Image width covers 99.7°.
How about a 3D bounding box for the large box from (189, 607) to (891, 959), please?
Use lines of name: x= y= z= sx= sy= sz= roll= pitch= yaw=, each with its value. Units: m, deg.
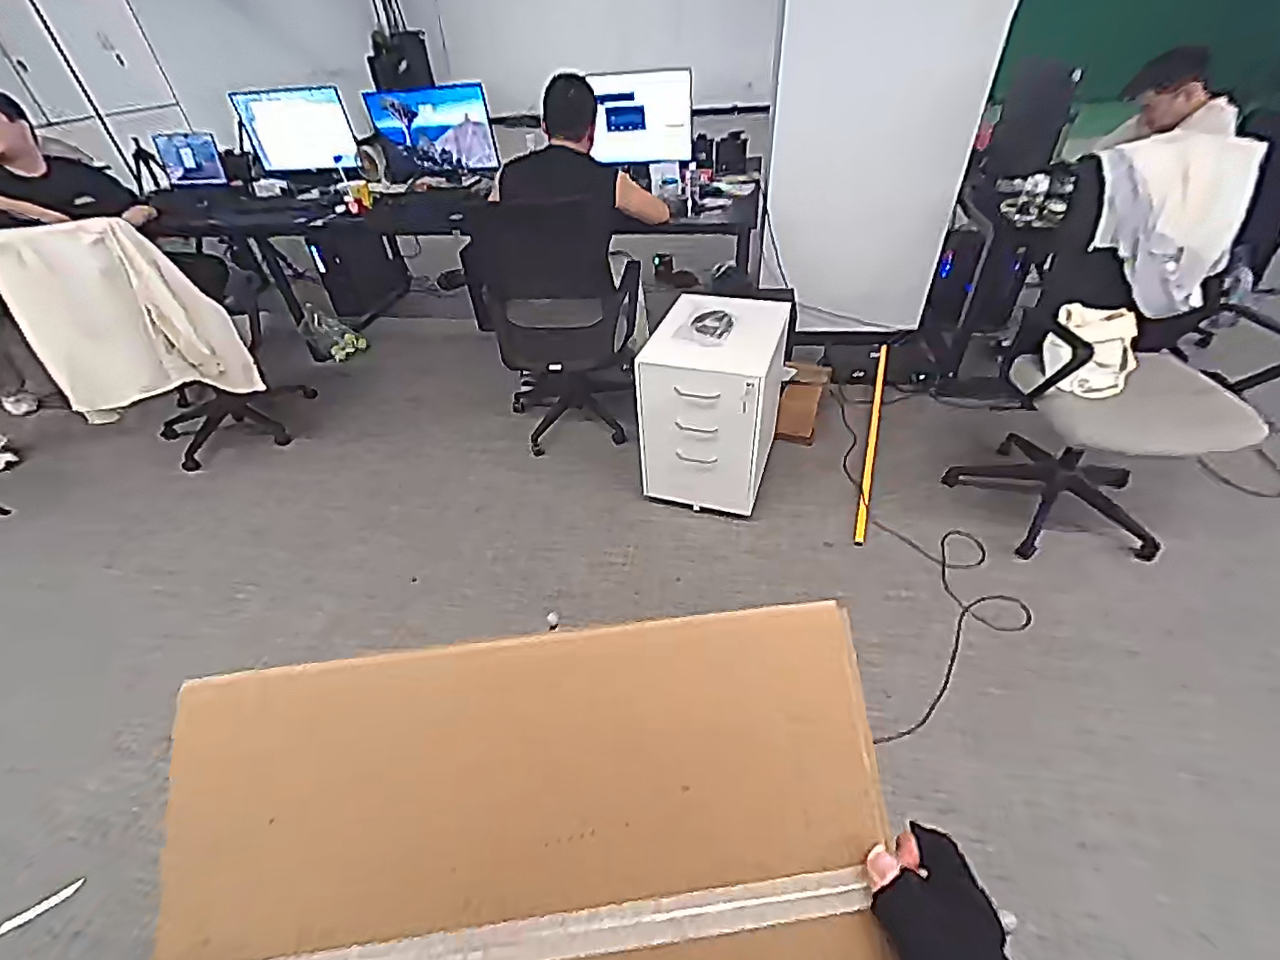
large box: x=-0.058 y=0.290 z=0.459 sx=0.408 sy=0.320 sz=0.320 roll=-6 pitch=76 yaw=-3
